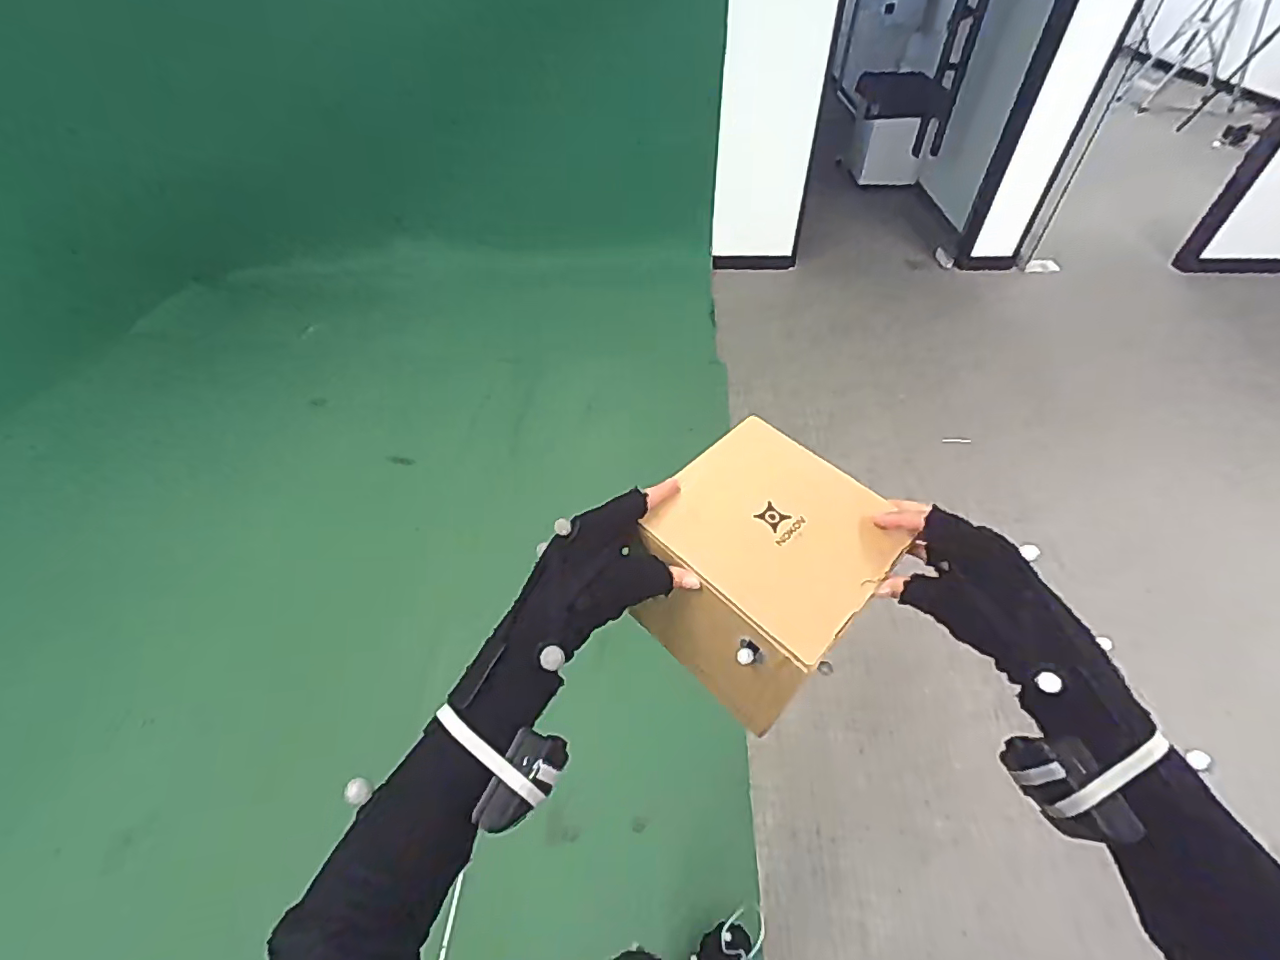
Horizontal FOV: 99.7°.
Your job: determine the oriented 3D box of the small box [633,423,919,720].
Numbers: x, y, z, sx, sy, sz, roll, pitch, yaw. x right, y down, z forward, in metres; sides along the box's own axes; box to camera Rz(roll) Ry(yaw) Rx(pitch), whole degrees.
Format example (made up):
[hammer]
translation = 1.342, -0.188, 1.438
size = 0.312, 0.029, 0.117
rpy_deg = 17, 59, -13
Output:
[small box]
translation = 0.107, 0.086, 0.501
size = 0.168, 0.176, 0.179
rpy_deg = -37, 62, -27
